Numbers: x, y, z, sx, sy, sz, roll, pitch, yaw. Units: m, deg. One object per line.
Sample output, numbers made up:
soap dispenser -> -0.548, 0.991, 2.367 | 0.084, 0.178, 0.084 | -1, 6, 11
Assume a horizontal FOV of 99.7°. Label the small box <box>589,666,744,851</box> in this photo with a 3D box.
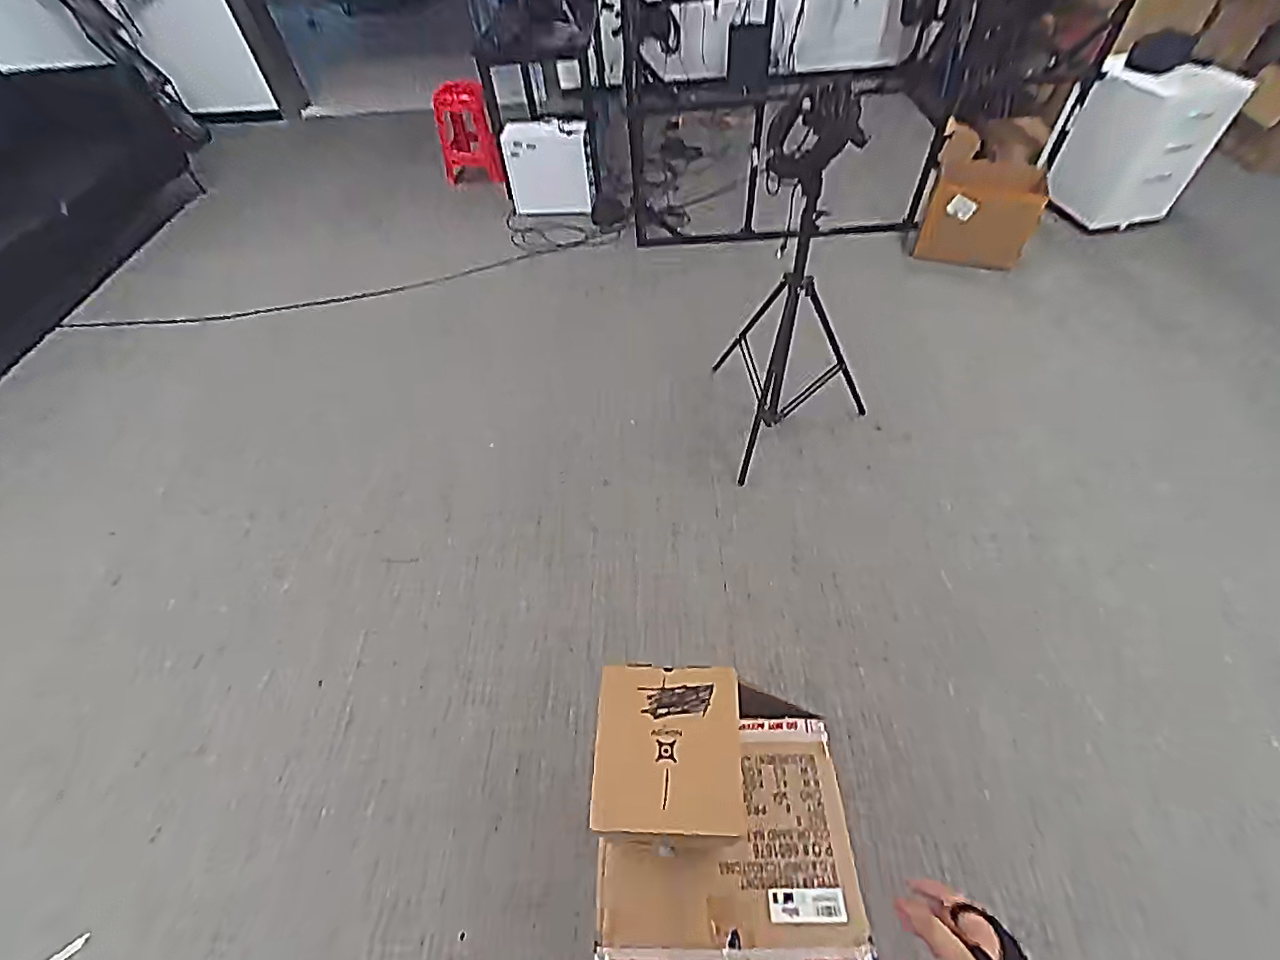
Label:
small box -> 0.038, 0.349, 0.676 | 0.168, 0.176, 0.179 | 0, 53, 6
